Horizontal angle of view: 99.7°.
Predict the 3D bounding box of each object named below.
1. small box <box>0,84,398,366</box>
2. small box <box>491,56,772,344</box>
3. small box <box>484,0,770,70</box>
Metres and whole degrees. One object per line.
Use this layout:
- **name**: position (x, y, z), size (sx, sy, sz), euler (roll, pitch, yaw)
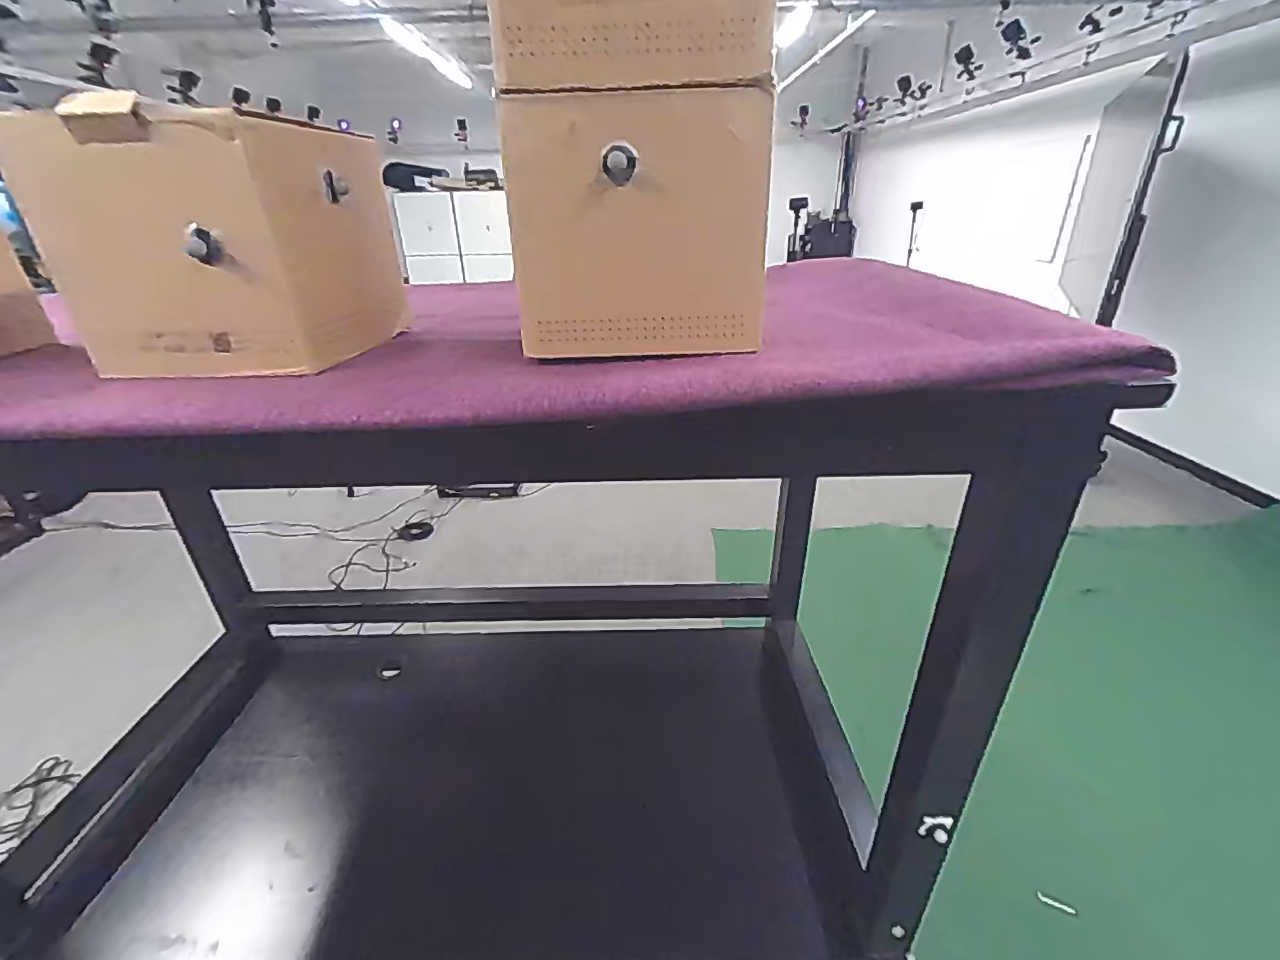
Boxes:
- **small box**: position (-0.314, -0.191, 0.426), size (0.168, 0.176, 0.179), euler (0, 26, 2)
- **small box**: position (-0.002, -0.205, 0.430), size (0.179, 0.176, 0.168), euler (-2, 24, 0)
- **small box**: position (-0.009, -0.355, 0.367), size (0.179, 0.176, 0.168), euler (-1, 25, 0)
